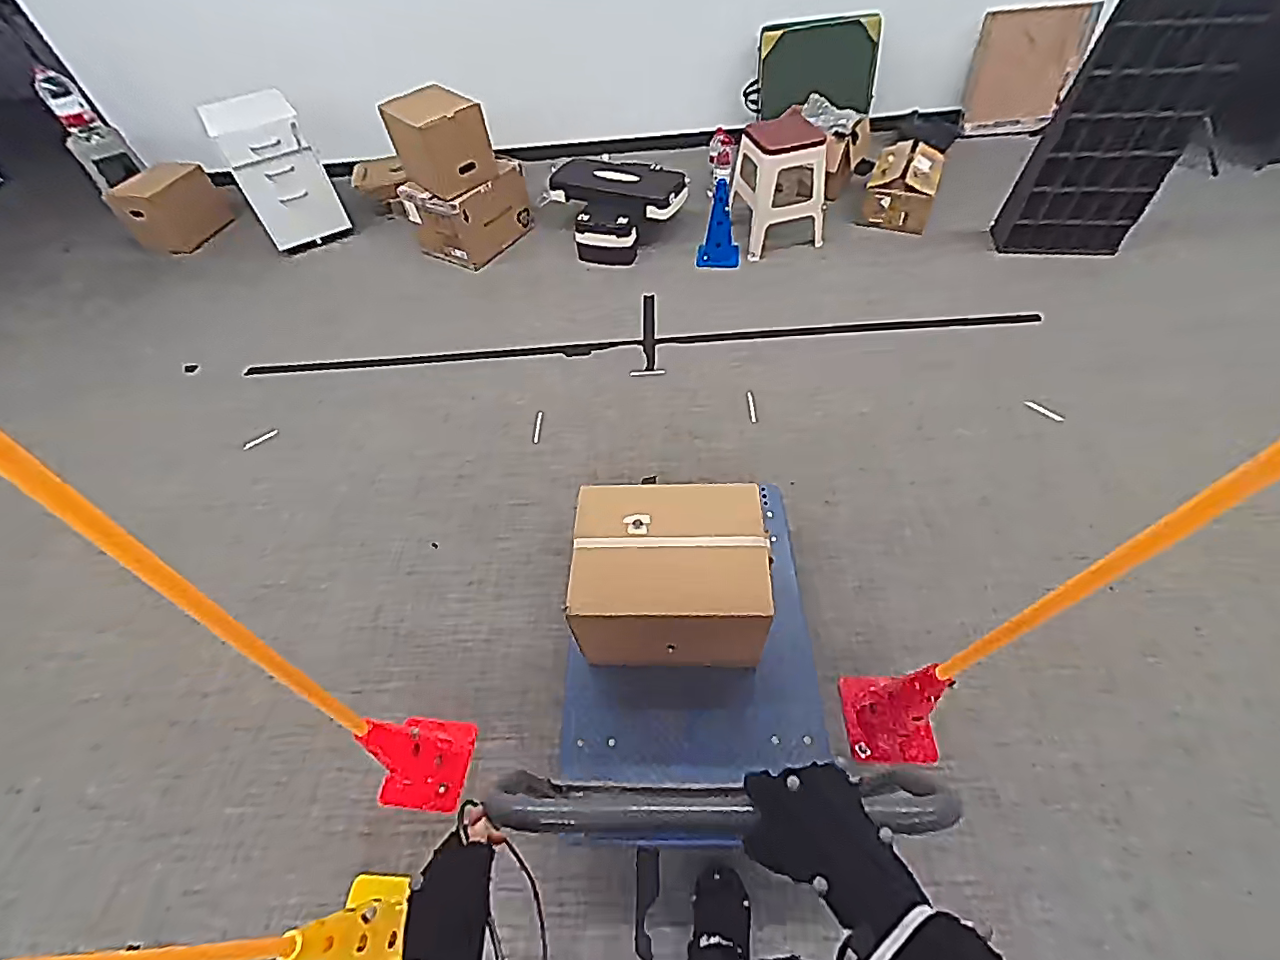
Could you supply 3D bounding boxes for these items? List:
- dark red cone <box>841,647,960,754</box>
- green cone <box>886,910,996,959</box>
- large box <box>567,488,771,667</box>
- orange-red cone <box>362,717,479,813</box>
[{"bbox_3d":[0.598,0.458,1.184,0.201,0.394,0.202,-2,53,2],"label":"dark red cone"},{"bbox_3d":[0.580,0.853,0.902,0.202,0.368,0.200,1,52,5],"label":"green cone"},{"bbox_3d":[0.070,0.235,1.250,0.408,0.320,0.320,-2,53,5],"label":"large box"},{"bbox_3d":[-0.528,0.597,1.213,0.198,0.360,0.199,4,51,7],"label":"orange-red cone"}]
